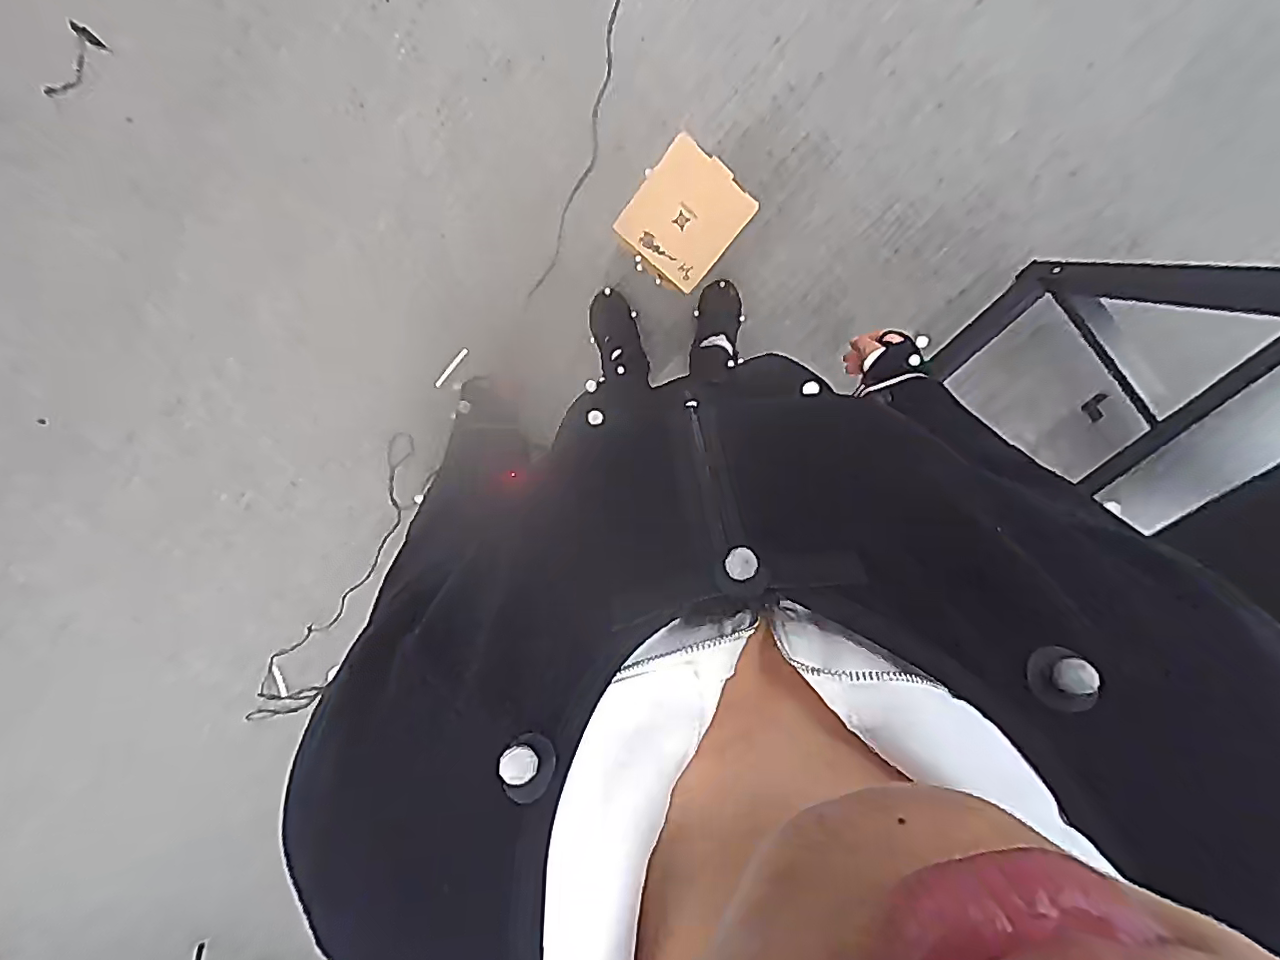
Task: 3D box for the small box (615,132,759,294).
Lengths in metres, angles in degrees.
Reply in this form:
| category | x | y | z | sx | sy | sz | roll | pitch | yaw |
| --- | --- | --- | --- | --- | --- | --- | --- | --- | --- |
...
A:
| category | x | y | z | sx | sy | sz | roll | pitch | yaw |
| --- | --- | --- | --- | --- | --- | --- | --- | --- | --- |
| small box | 0.072 | -0.447 | 0.931 | 0.168 | 0.176 | 0.179 | 38 | 107 | -13 |
